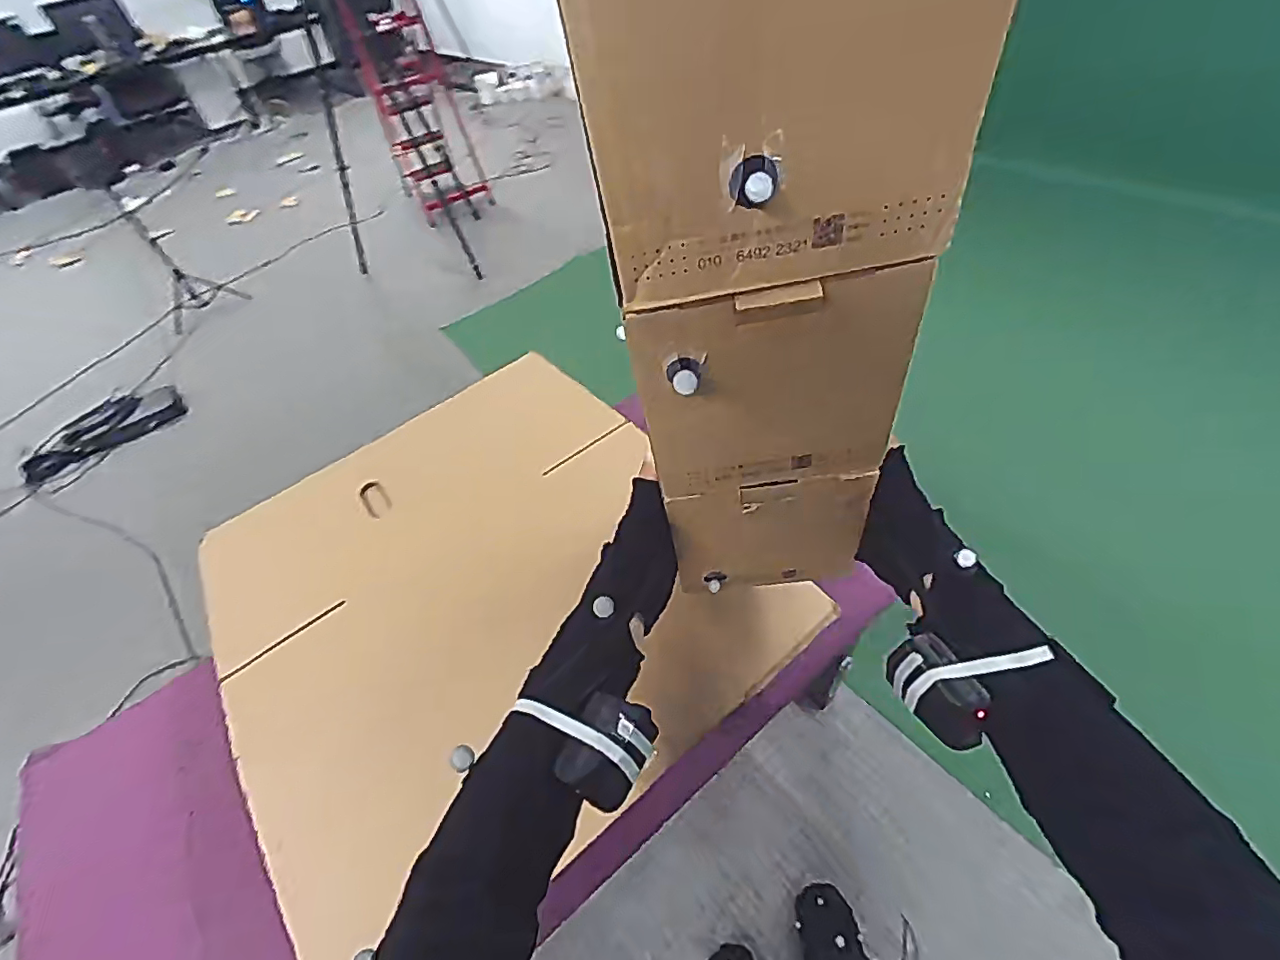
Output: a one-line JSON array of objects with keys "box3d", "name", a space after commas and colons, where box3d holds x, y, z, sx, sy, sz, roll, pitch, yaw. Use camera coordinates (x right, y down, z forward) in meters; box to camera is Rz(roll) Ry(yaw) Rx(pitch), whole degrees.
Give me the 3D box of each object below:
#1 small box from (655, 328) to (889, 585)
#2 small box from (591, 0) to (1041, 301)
[{"box3d": [0.113, -0.012, 0.519, 0.168, 0.176, 0.179, -10, 53, 4], "name": "small box"}, {"box3d": [0.063, -0.216, 0.268, 0.168, 0.176, 0.179, -9, 51, 4], "name": "small box"}]
